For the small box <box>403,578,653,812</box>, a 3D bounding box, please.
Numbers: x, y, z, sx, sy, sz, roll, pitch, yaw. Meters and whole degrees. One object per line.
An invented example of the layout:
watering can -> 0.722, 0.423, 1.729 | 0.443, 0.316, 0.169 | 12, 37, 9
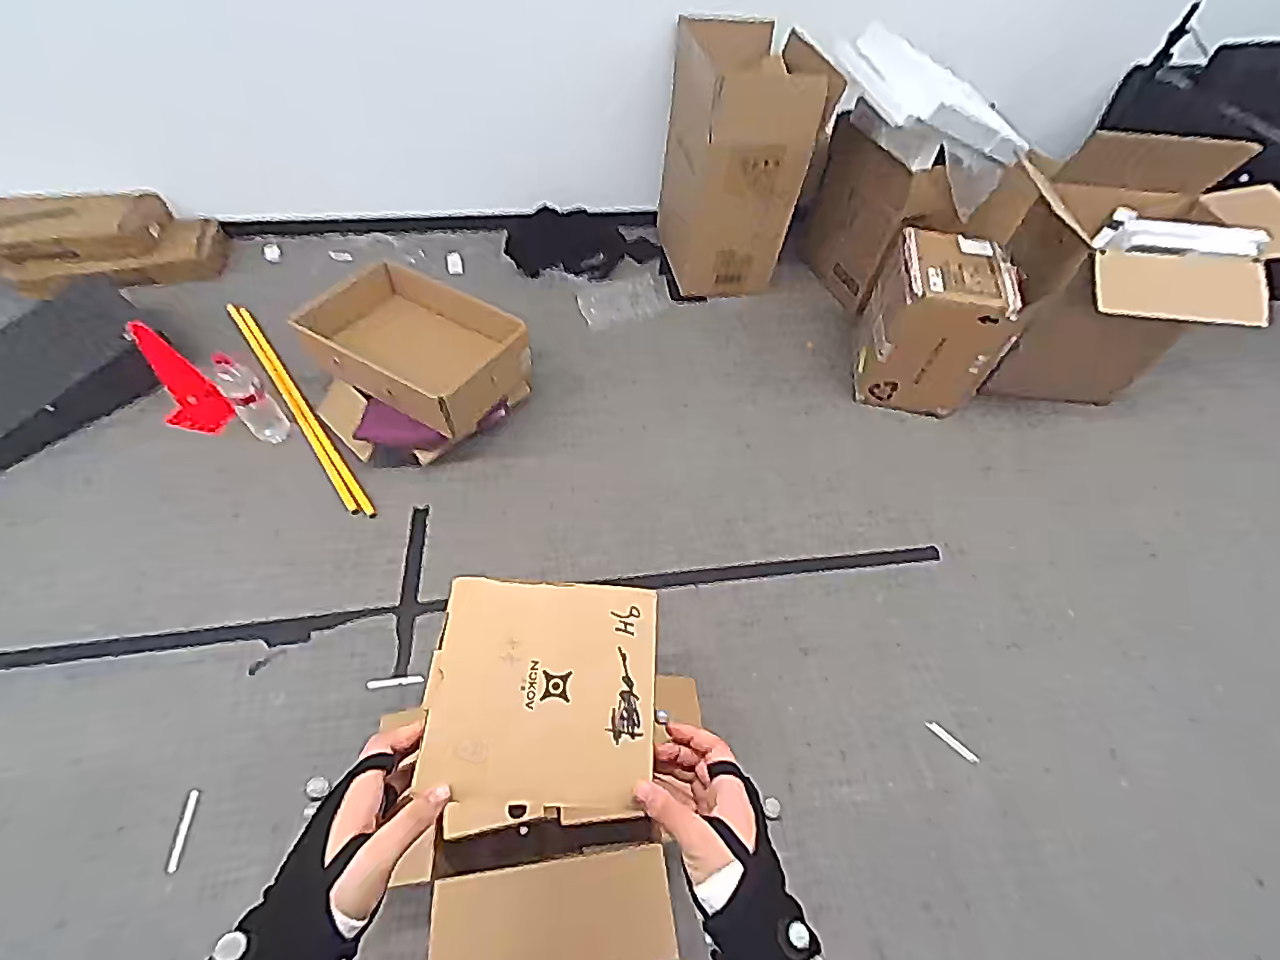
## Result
small box -> -0.084, 0.197, 0.490 | 0.179, 0.176, 0.168 | 4, 63, -3
